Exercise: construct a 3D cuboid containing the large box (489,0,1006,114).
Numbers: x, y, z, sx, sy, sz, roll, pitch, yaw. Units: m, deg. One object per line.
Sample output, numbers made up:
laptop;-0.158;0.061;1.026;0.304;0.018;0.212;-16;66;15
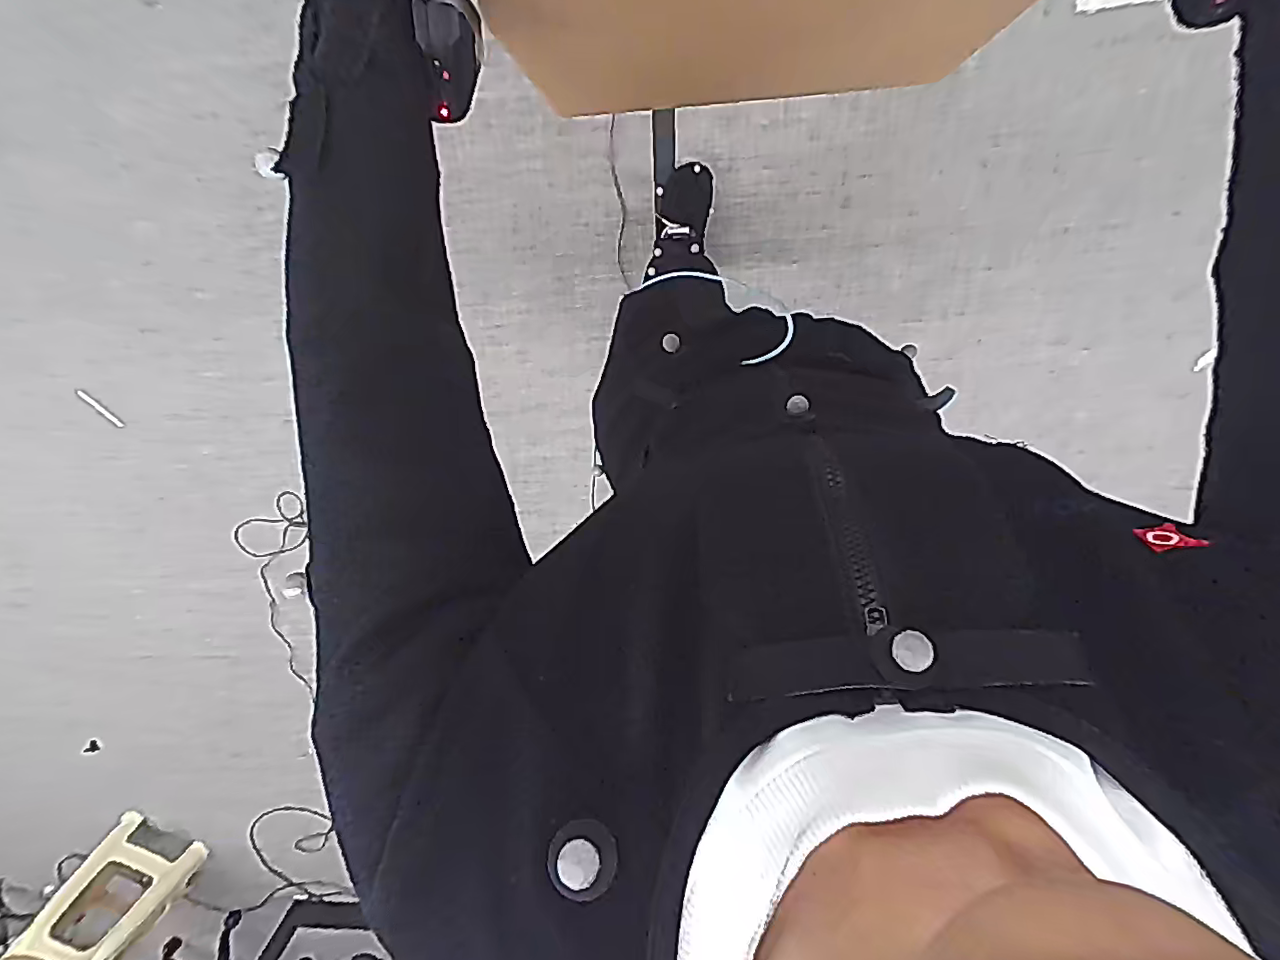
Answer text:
large box;0.085;-0.508;0.392;0.408;0.320;0.320;-2;110;5
